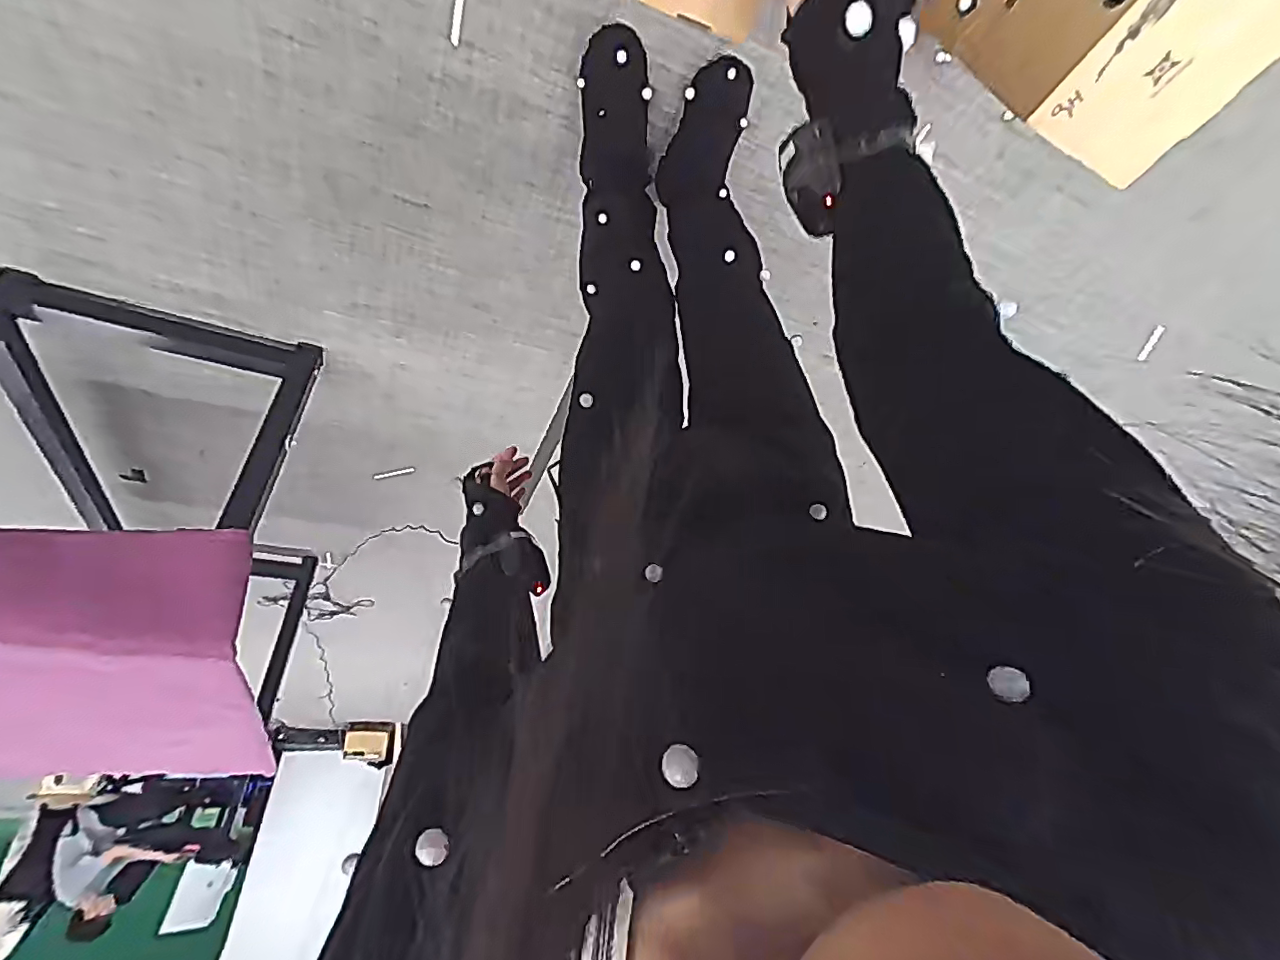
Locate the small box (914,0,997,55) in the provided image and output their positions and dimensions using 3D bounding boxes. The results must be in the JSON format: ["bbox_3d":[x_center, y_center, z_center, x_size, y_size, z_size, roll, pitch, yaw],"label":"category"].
[{"bbox_3d":[0.459,-0.586,0.622,0.168,0.176,0.179,10,143,-22],"label":"small box"}]

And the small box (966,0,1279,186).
[{"bbox_3d":[0.478,-0.444,0.541,0.179,0.176,0.168,11,143,-24],"label":"small box"}]

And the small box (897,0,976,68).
[{"bbox_3d":[0.442,-0.712,0.723,0.179,0.176,0.168,13,141,-25],"label":"small box"}]
